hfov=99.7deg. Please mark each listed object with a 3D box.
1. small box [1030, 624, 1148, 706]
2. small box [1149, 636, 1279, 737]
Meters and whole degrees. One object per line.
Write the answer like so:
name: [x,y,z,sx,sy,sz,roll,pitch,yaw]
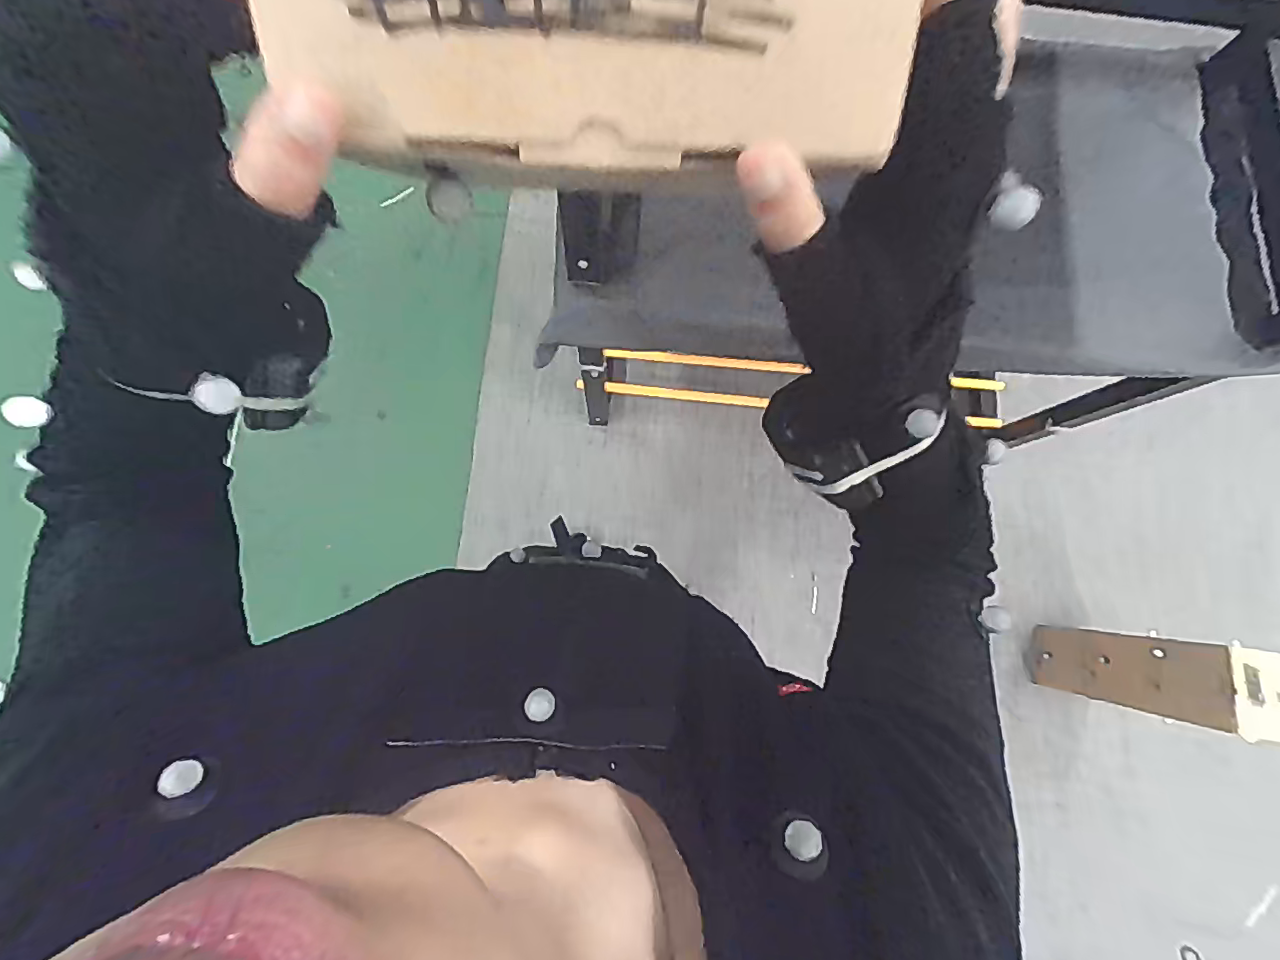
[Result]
small box: [1.186,0.482,1.434,0.179,0.176,0.168,10,78,-1]
small box: [1.204,0.421,1.114,0.179,0.176,0.168,9,80,-2]
